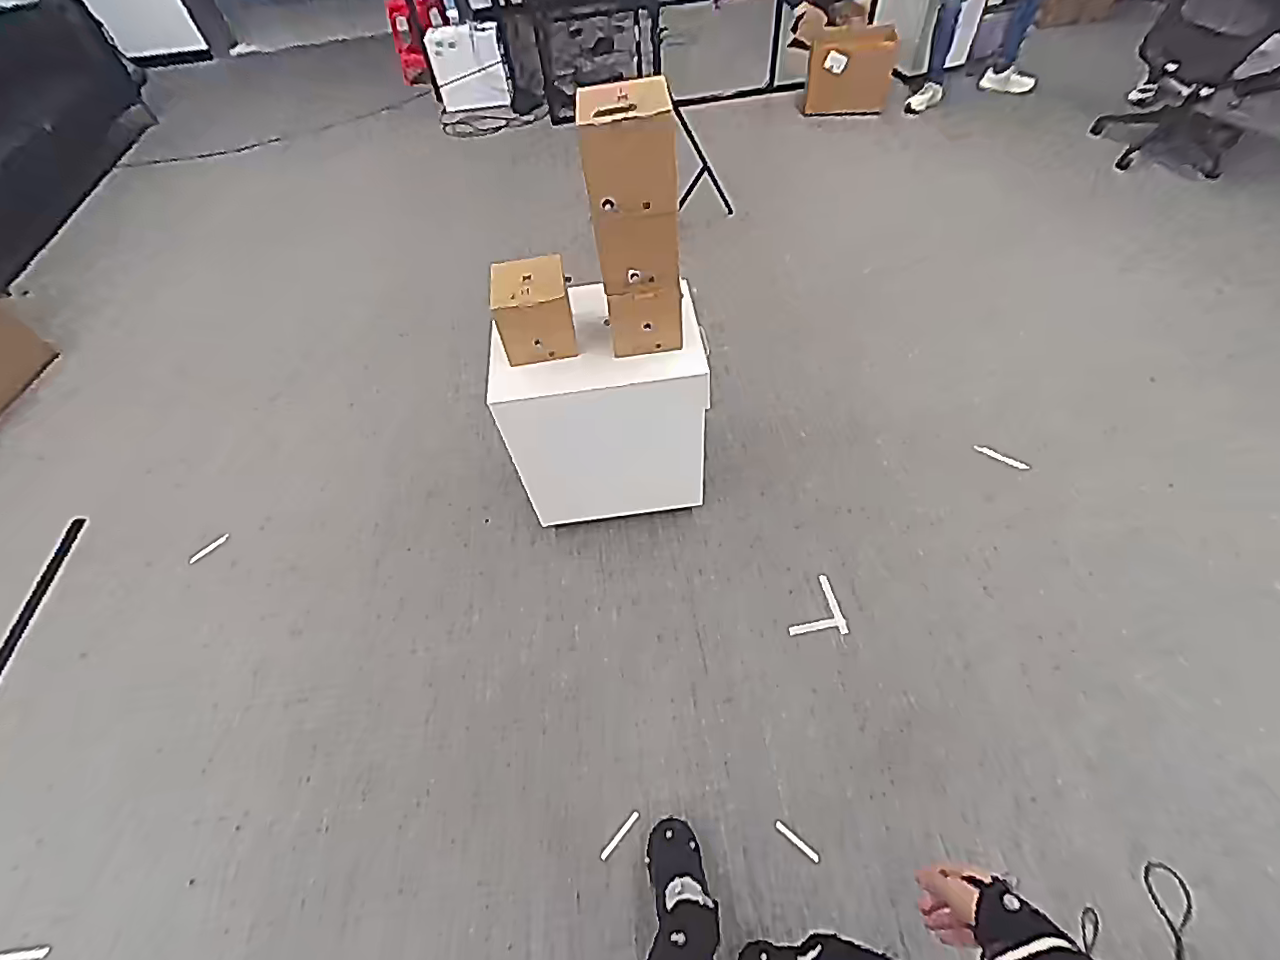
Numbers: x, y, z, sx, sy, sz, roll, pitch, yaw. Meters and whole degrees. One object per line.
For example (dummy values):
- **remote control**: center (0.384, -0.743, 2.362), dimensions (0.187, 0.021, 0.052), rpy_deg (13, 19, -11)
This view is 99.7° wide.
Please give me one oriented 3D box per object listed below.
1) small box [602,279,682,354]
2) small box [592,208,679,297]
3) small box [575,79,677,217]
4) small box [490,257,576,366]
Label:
- **small box**: center (0.005, -0.413, 1.270), dimensions (0.168, 0.176, 0.179), rpy_deg (-8, 55, 2)
- **small box**: center (-0.010, -0.516, 1.143), dimensions (0.168, 0.176, 0.179), rpy_deg (-8, 54, 2)
- **small box**: center (-0.023, -0.610, 1.008), dimensions (0.168, 0.176, 0.179), rpy_deg (-7, 52, 3)
- **small box**: center (-0.249, -0.397, 1.281), dimensions (0.168, 0.176, 0.179), rpy_deg (-10, 54, -2)
